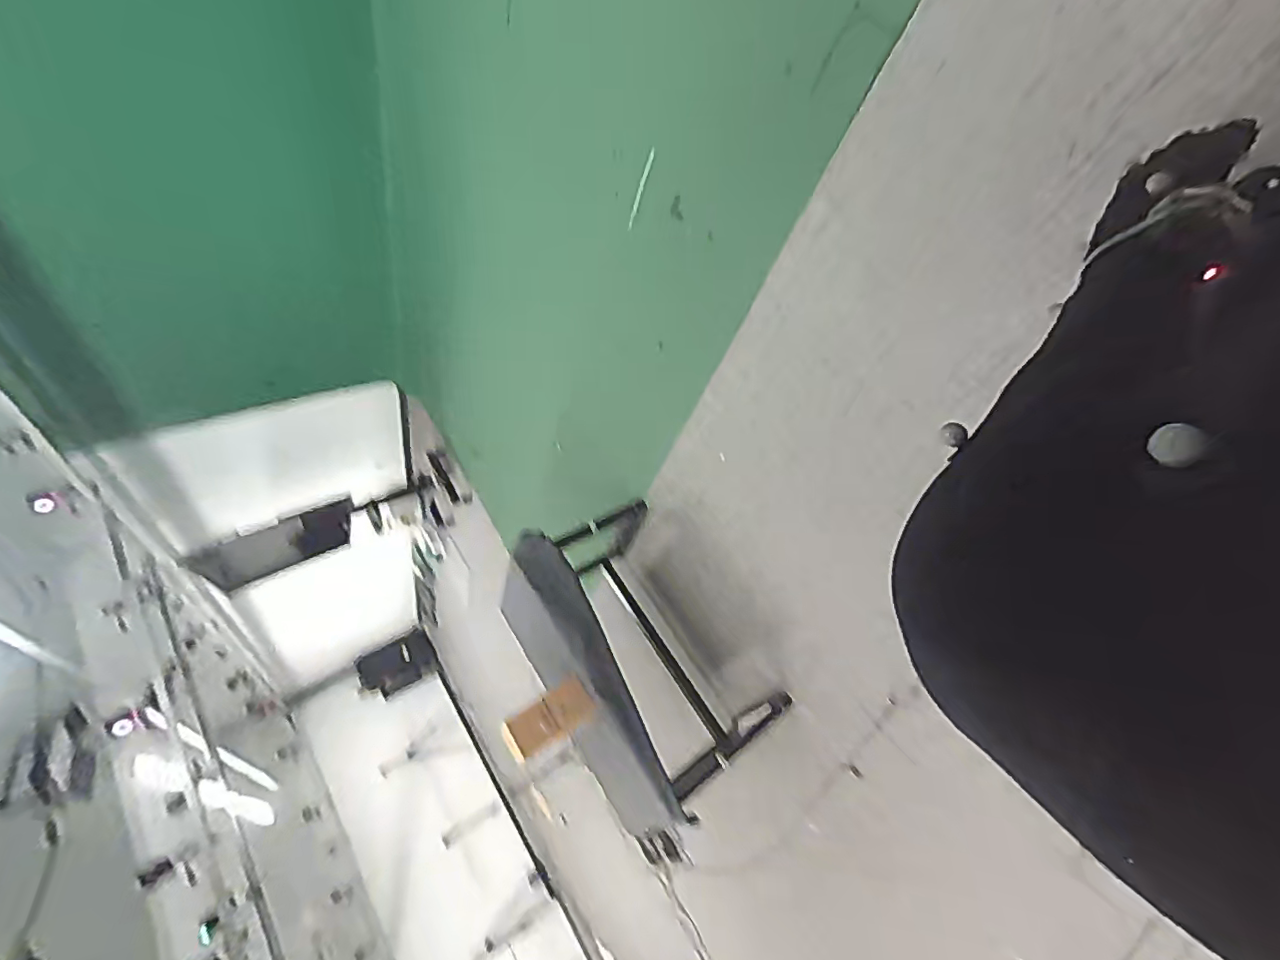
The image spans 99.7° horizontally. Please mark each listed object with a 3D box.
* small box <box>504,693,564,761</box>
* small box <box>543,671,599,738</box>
[{"bbox_3d":[-0.417,0.972,2.130,0.168,0.176,0.179,52,144,19],"label":"small box"},{"bbox_3d":[-0.289,0.917,2.212,0.179,0.176,0.168,53,146,21],"label":"small box"}]
